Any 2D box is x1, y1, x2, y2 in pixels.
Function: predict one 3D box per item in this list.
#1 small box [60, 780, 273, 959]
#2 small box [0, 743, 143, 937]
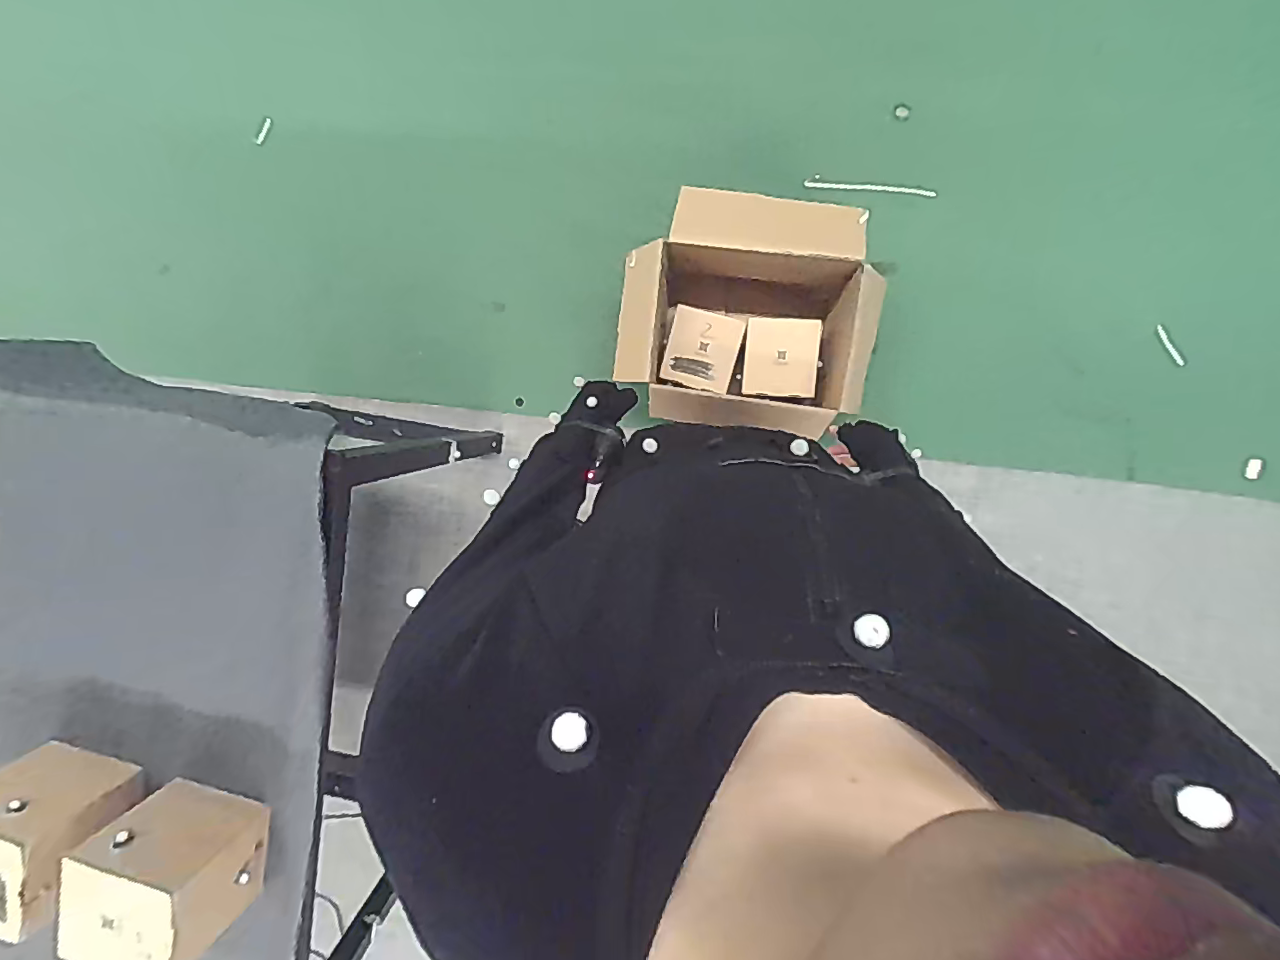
[{"bbox_3d":[-0.709,0.596,0.823,0.179,0.176,0.168,13,99,5],"label":"small box"},{"bbox_3d":[-0.931,0.544,0.840,0.179,0.176,0.168,13,99,4],"label":"small box"}]
